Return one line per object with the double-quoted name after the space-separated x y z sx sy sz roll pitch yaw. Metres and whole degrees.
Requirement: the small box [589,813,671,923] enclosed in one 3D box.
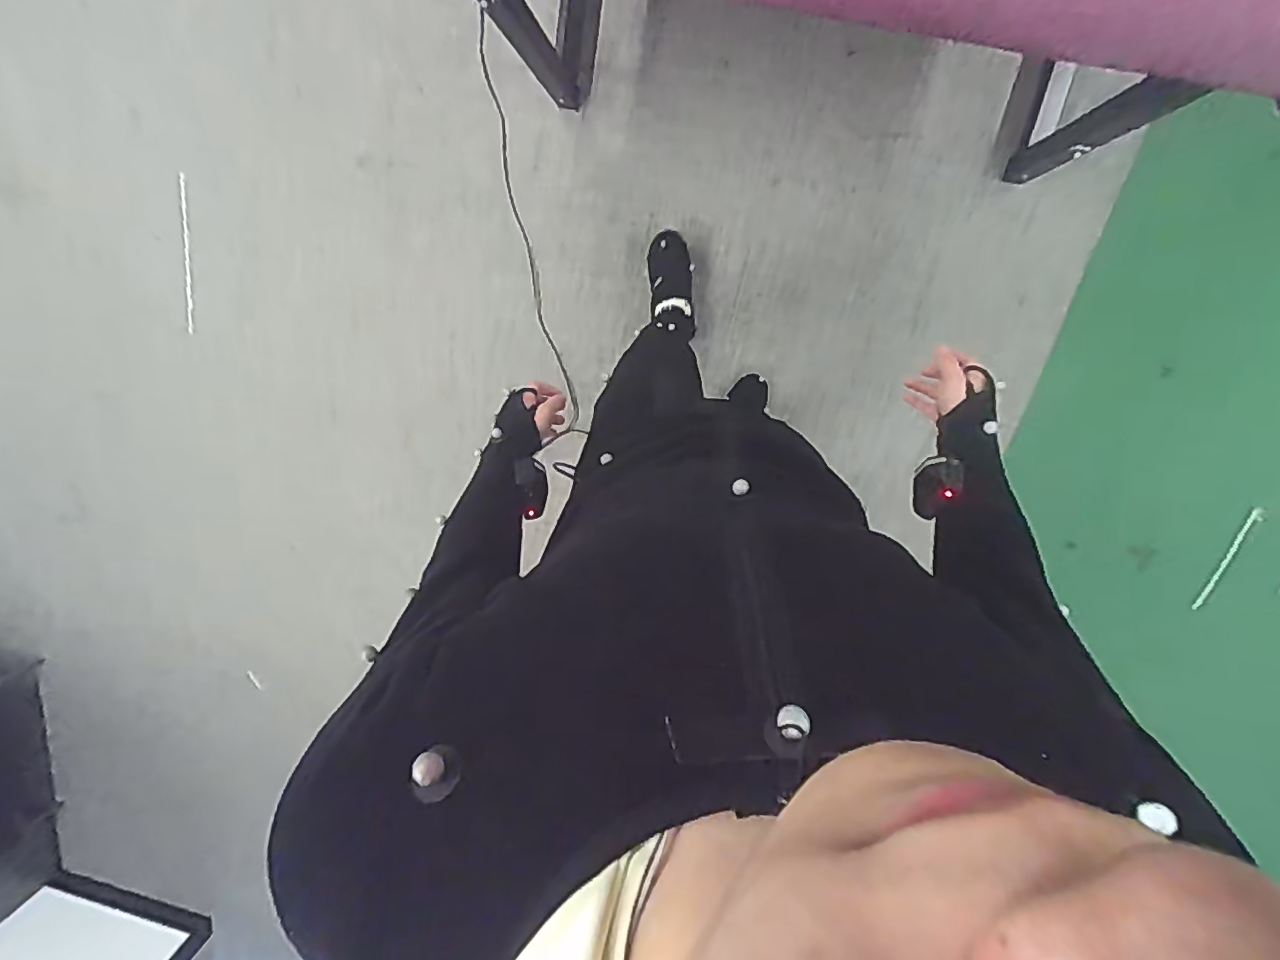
-0.020 1.096 1.540 0.179 0.176 0.168 23 108 1 "small box"
